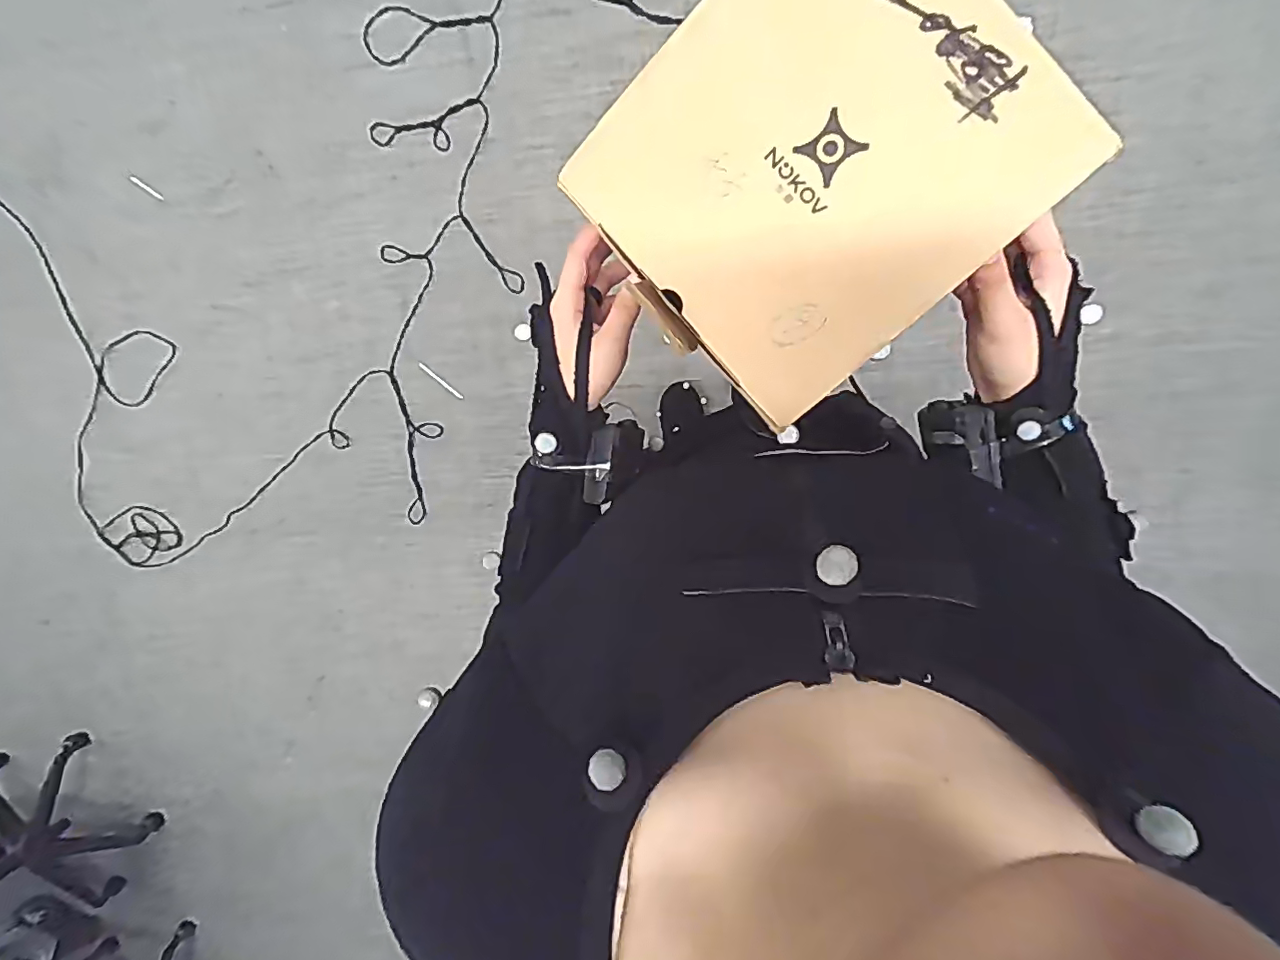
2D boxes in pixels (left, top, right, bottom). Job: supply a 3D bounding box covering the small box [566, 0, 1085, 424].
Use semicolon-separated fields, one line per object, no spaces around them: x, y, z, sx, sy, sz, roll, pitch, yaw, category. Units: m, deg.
0.091;-0.156;0.327;0.179;0.176;0.168;-42;92;16;small box
